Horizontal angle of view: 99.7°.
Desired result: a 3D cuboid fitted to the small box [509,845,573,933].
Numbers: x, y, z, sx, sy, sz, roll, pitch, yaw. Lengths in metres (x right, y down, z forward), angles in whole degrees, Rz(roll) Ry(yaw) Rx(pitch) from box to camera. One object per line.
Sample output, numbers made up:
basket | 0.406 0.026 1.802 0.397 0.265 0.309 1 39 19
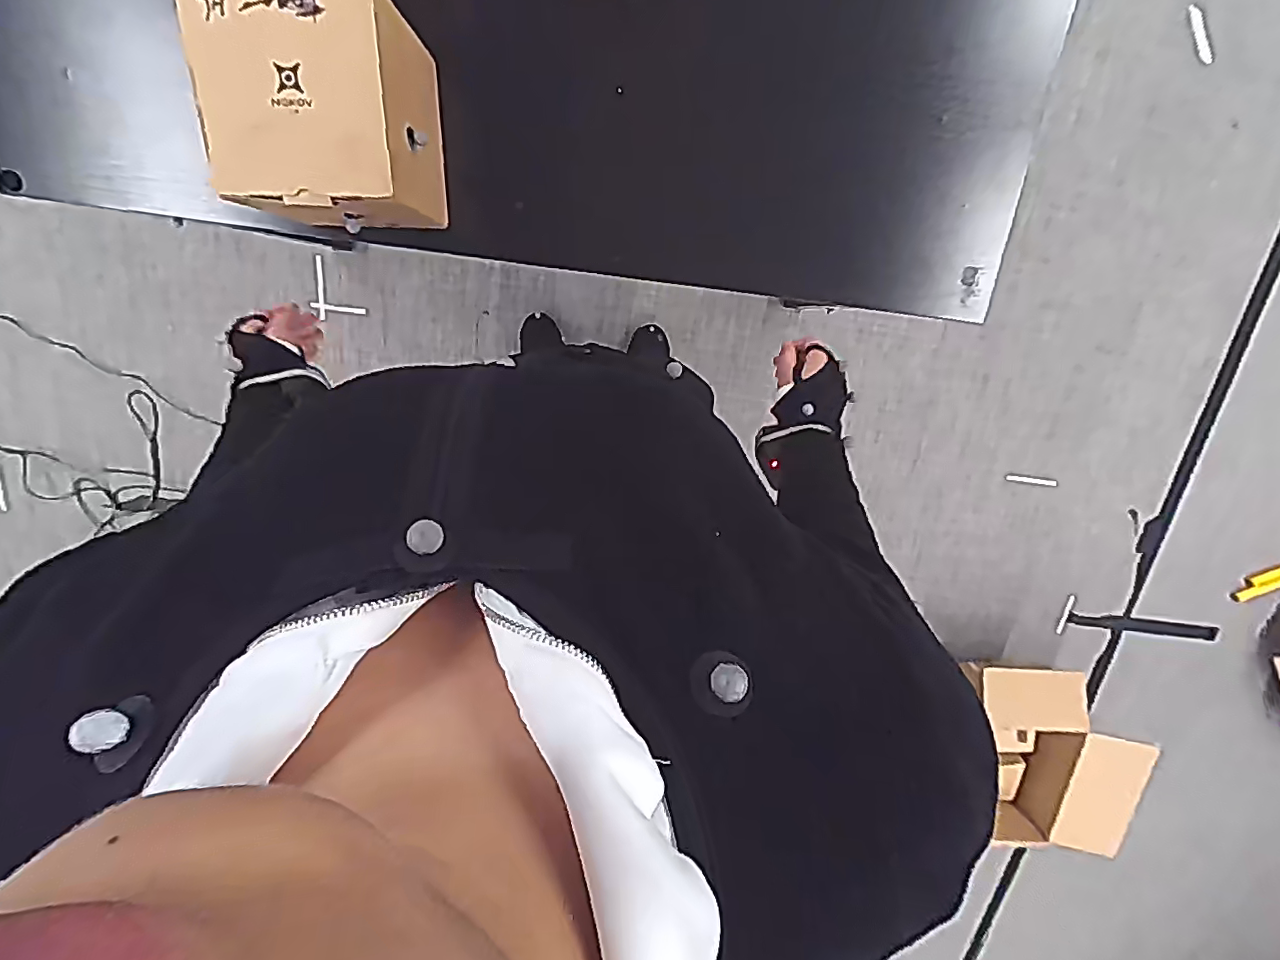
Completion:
small box | -0.324 1.355 1.800 0.179 0.176 0.168 9 104 -3

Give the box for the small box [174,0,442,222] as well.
small box | -0.313 -0.369 0.551 0.168 0.176 0.179 0 107 -2
